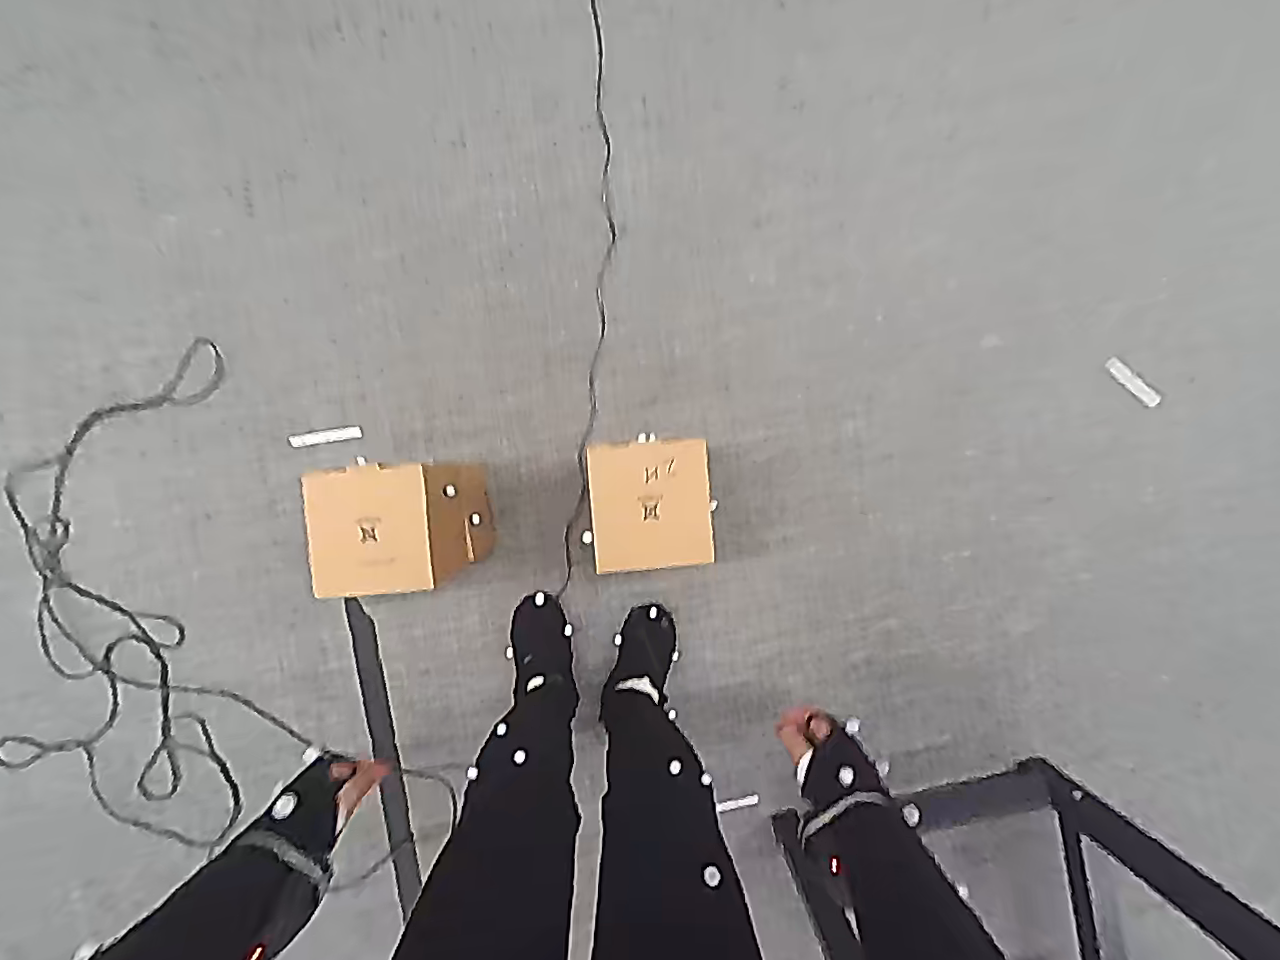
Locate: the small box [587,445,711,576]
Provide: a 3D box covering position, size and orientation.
[{"bbox_3d":[0.010,0.040,0.832,0.168,0.176,0.179,-5,91,-3],"label":"small box"}]

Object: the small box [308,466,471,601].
[{"bbox_3d":[-0.368,0.072,0.823,0.168,0.176,0.179,-6,93,-1],"label":"small box"}]

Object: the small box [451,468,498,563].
[{"bbox_3d":[-0.377,0.072,0.987,0.179,0.176,0.168,-10,92,-1],"label":"small box"}]
